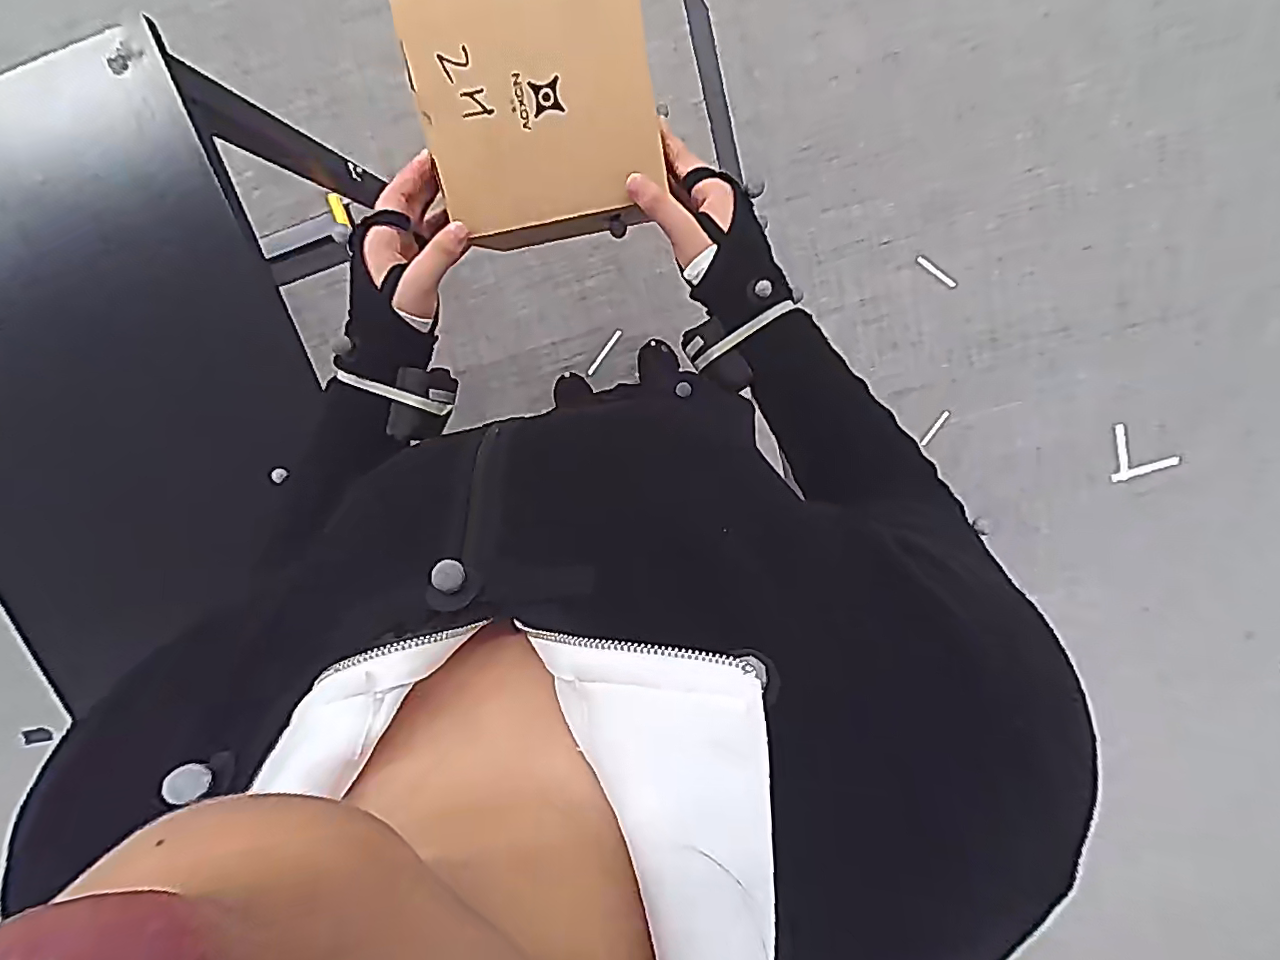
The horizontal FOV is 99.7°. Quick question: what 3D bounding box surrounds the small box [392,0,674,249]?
[{"bbox_3d":[-0.073,-0.302,0.464,0.179,0.176,0.168,-9,110,3],"label":"small box"}]
